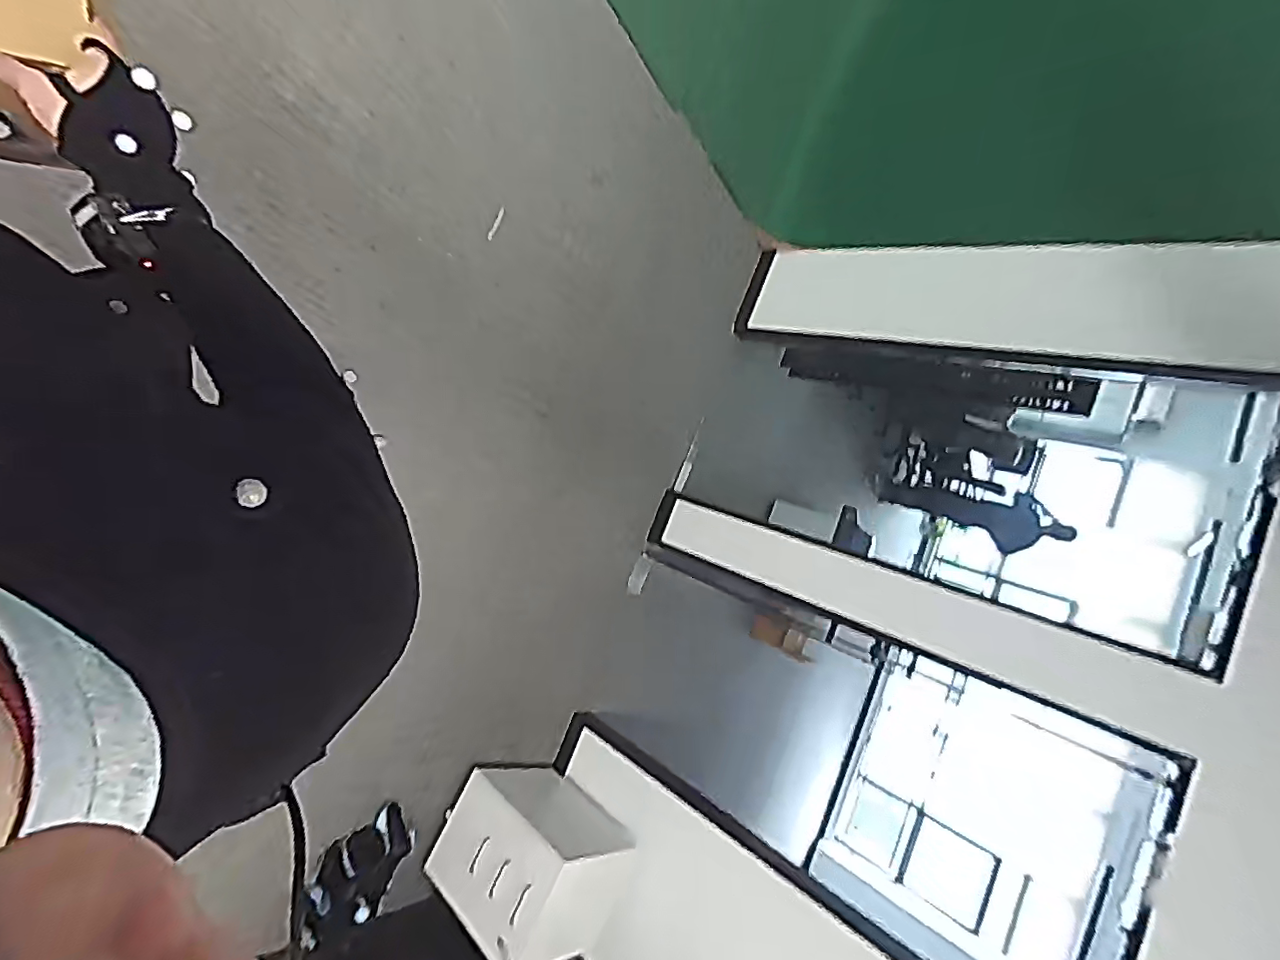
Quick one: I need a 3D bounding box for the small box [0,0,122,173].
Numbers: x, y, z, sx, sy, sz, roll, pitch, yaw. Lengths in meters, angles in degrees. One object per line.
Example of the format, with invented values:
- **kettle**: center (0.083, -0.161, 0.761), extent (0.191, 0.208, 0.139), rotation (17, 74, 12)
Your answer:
- **small box**: center (-0.592, -0.403, 0.471), extent (0.168, 0.176, 0.179), rotation (-10, 93, -34)
